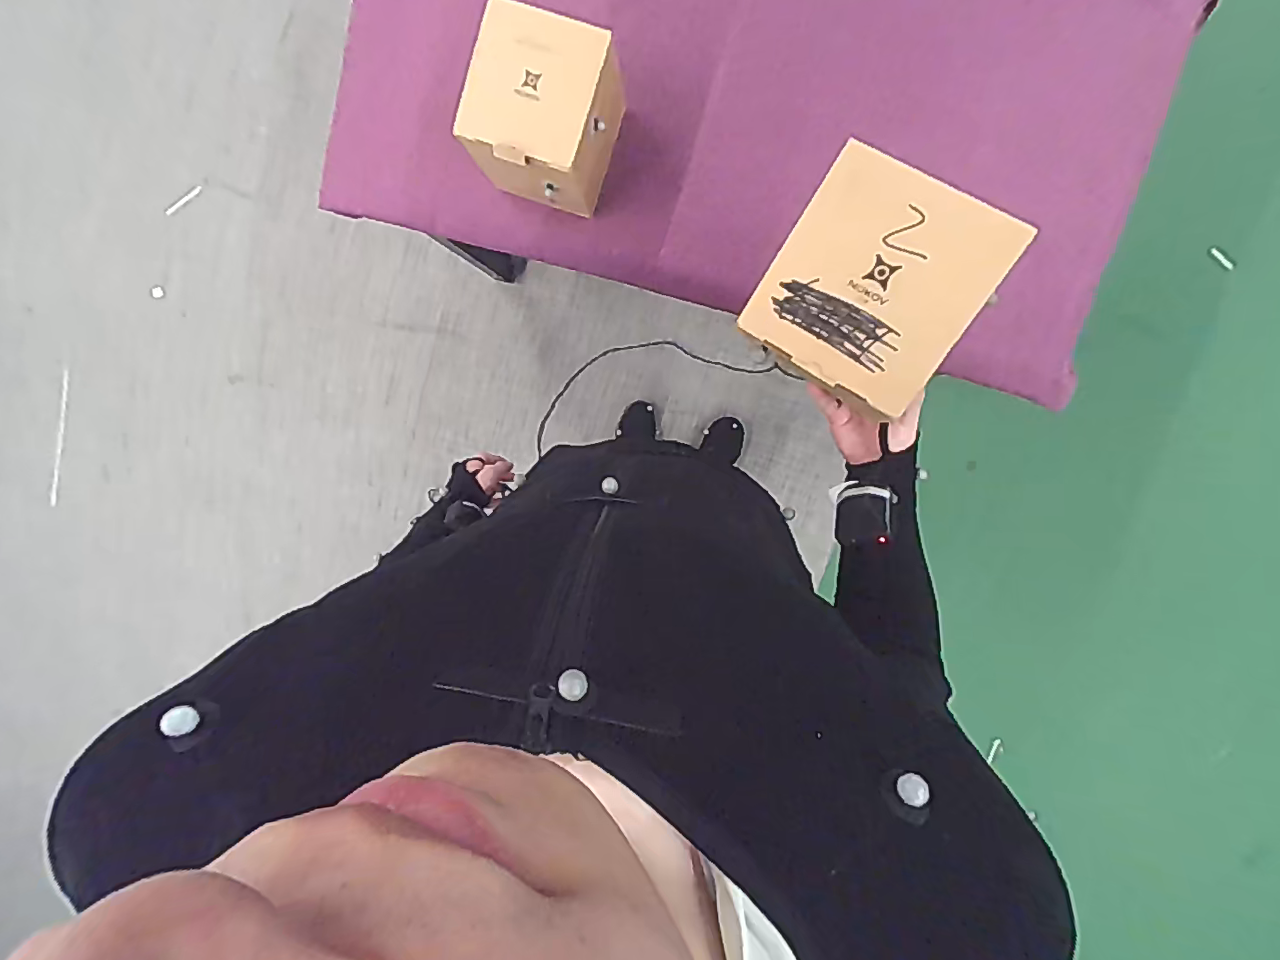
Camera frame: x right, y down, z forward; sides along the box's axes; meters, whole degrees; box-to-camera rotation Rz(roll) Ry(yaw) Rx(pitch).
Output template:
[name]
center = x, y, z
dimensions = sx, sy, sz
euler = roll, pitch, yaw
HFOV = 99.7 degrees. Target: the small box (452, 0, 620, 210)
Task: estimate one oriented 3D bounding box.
[small box]
center = -0.134, -0.515, 0.763
dimensions = 0.168, 0.176, 0.179
euler = 20, 97, 2
